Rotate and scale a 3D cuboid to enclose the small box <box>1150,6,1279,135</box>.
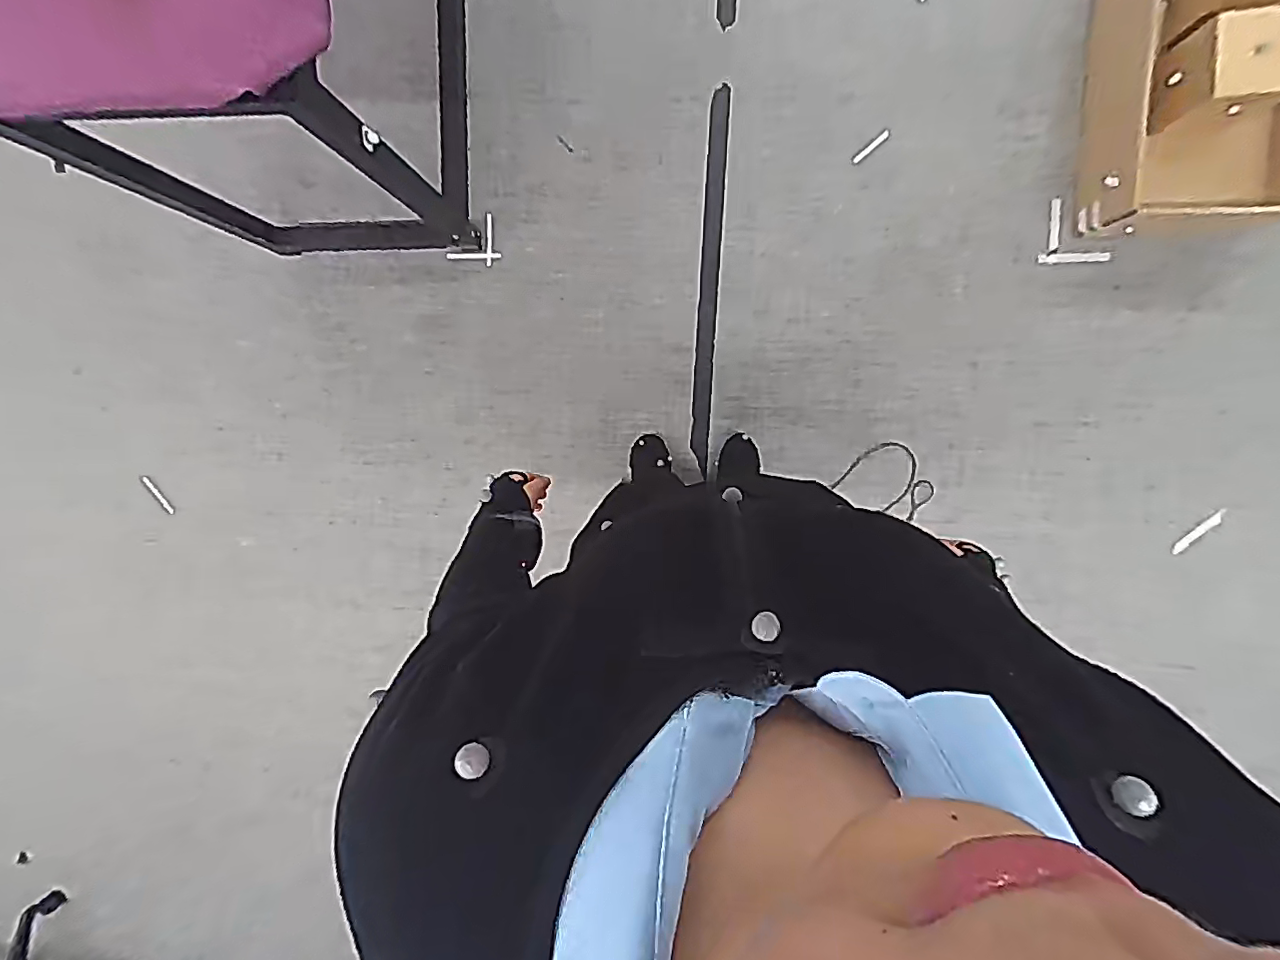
[{"bbox_3d":[1.283,-0.890,1.190,0.179,0.176,0.168,-3,96,5],"label":"small box"}]
